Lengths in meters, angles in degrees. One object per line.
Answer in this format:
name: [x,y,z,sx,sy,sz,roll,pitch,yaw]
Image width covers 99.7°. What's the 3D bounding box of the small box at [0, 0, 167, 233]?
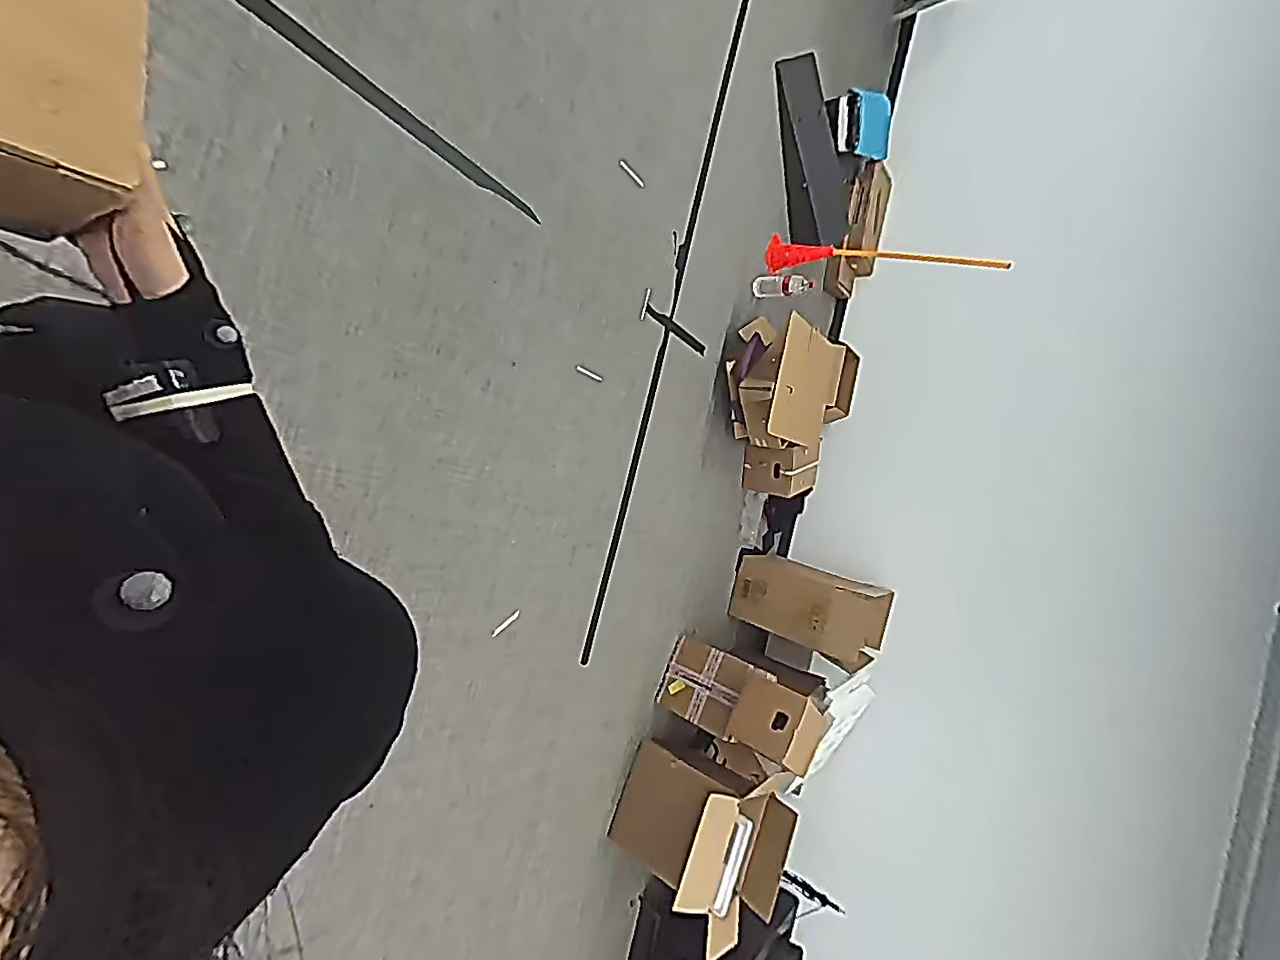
small box: [-0.373,-0.246,0.270,0.168,0.176,0.179,3,93,-60]
